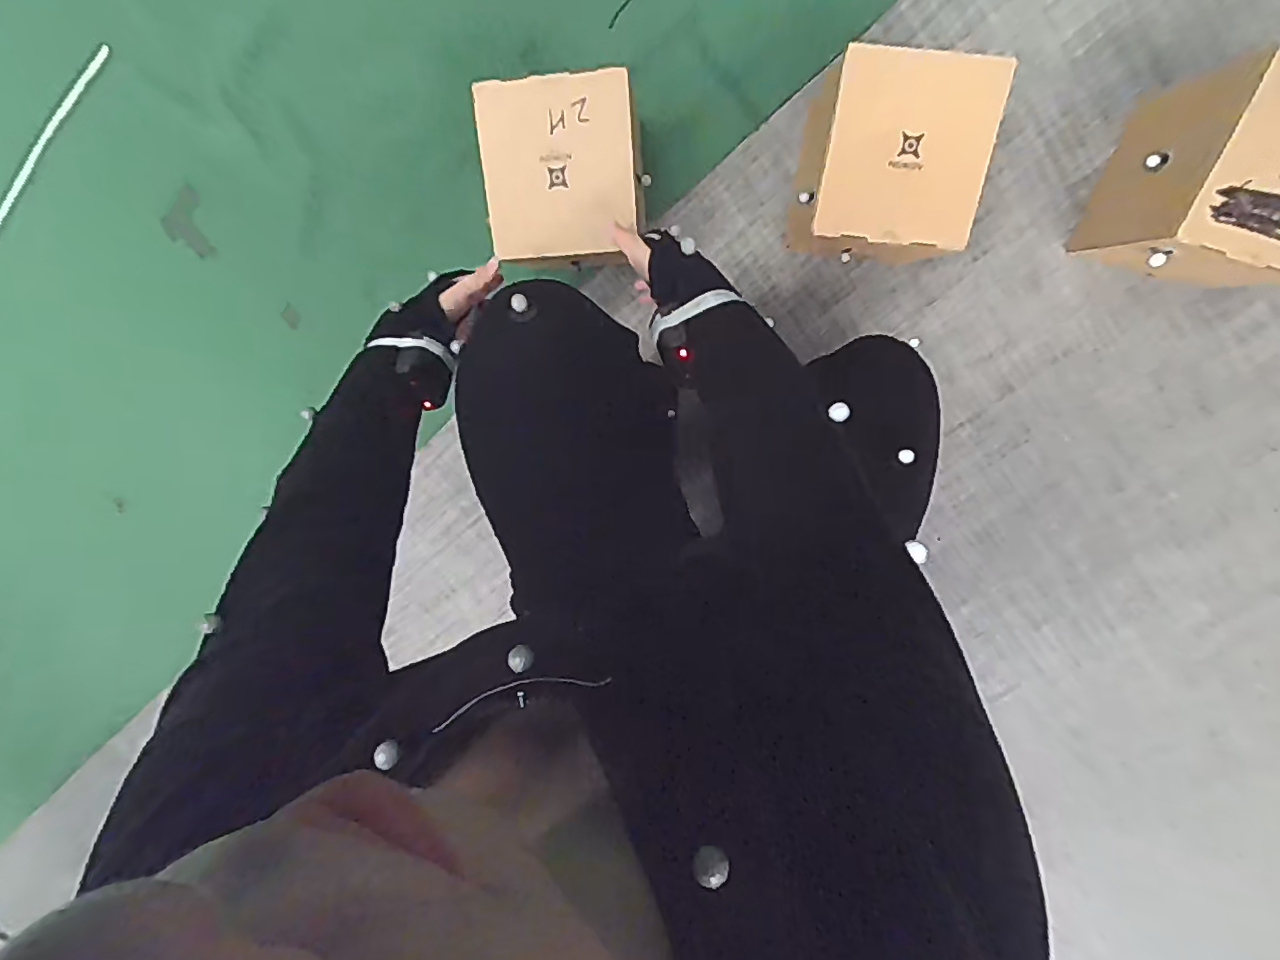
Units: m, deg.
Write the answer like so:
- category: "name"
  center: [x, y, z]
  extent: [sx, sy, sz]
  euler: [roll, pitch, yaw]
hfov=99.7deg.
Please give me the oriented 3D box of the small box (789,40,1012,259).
- category: "small box"
  center: [0.281, -0.366, 0.632]
  extent: [0.168, 0.176, 0.179]
  euler: [7, 109, 3]

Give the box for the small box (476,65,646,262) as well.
- category: "small box"
  center: [-0.081, -0.364, 0.658]
  extent: [0.168, 0.176, 0.179]
  euler: [-2, 108, 4]
